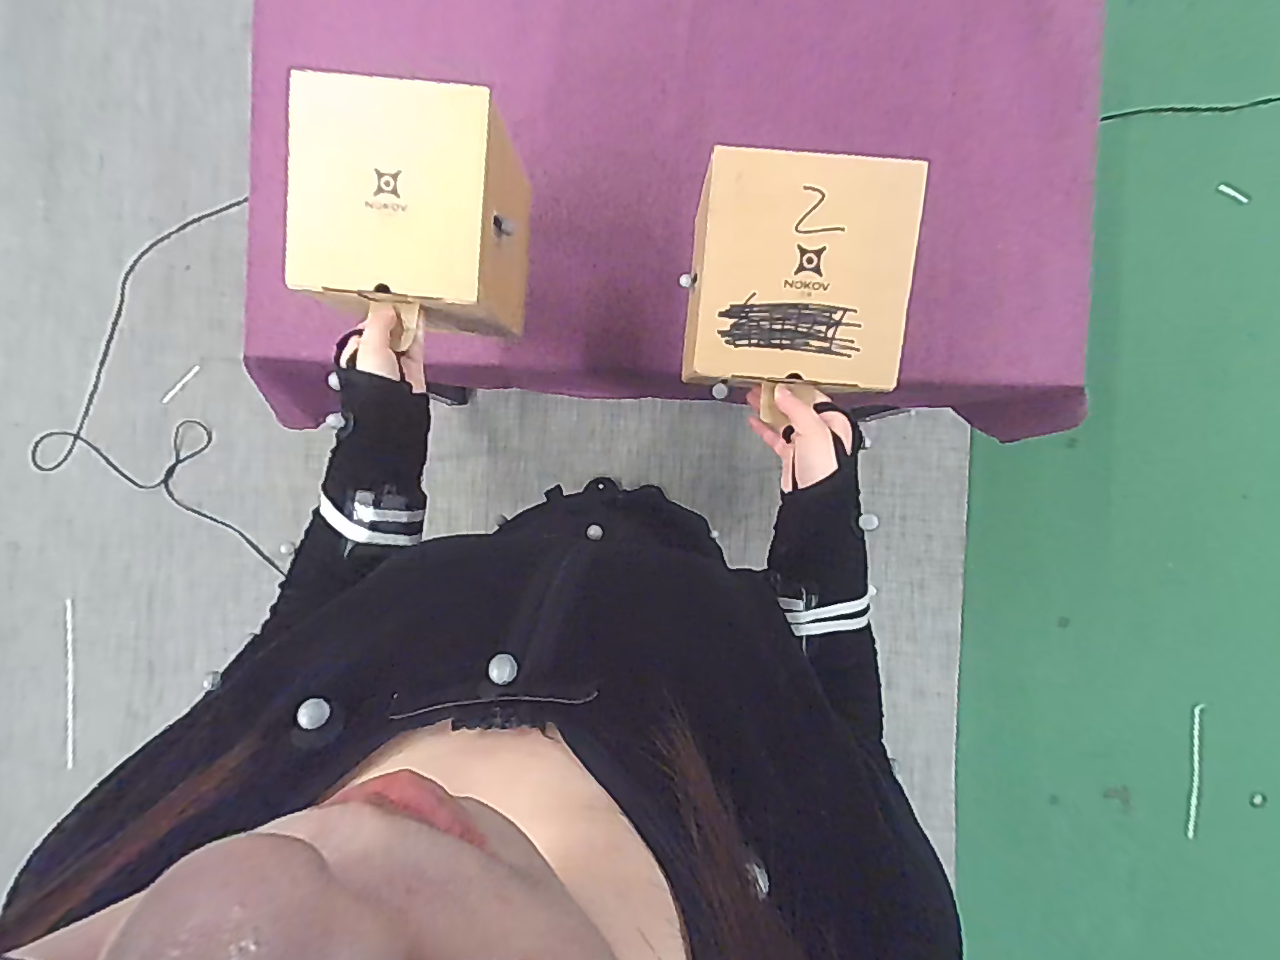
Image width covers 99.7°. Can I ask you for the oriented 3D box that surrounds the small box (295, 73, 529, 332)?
[{"bbox_3d":[-0.212,-0.258,0.545,0.168,0.176,0.179,5,96,0],"label":"small box"}]
